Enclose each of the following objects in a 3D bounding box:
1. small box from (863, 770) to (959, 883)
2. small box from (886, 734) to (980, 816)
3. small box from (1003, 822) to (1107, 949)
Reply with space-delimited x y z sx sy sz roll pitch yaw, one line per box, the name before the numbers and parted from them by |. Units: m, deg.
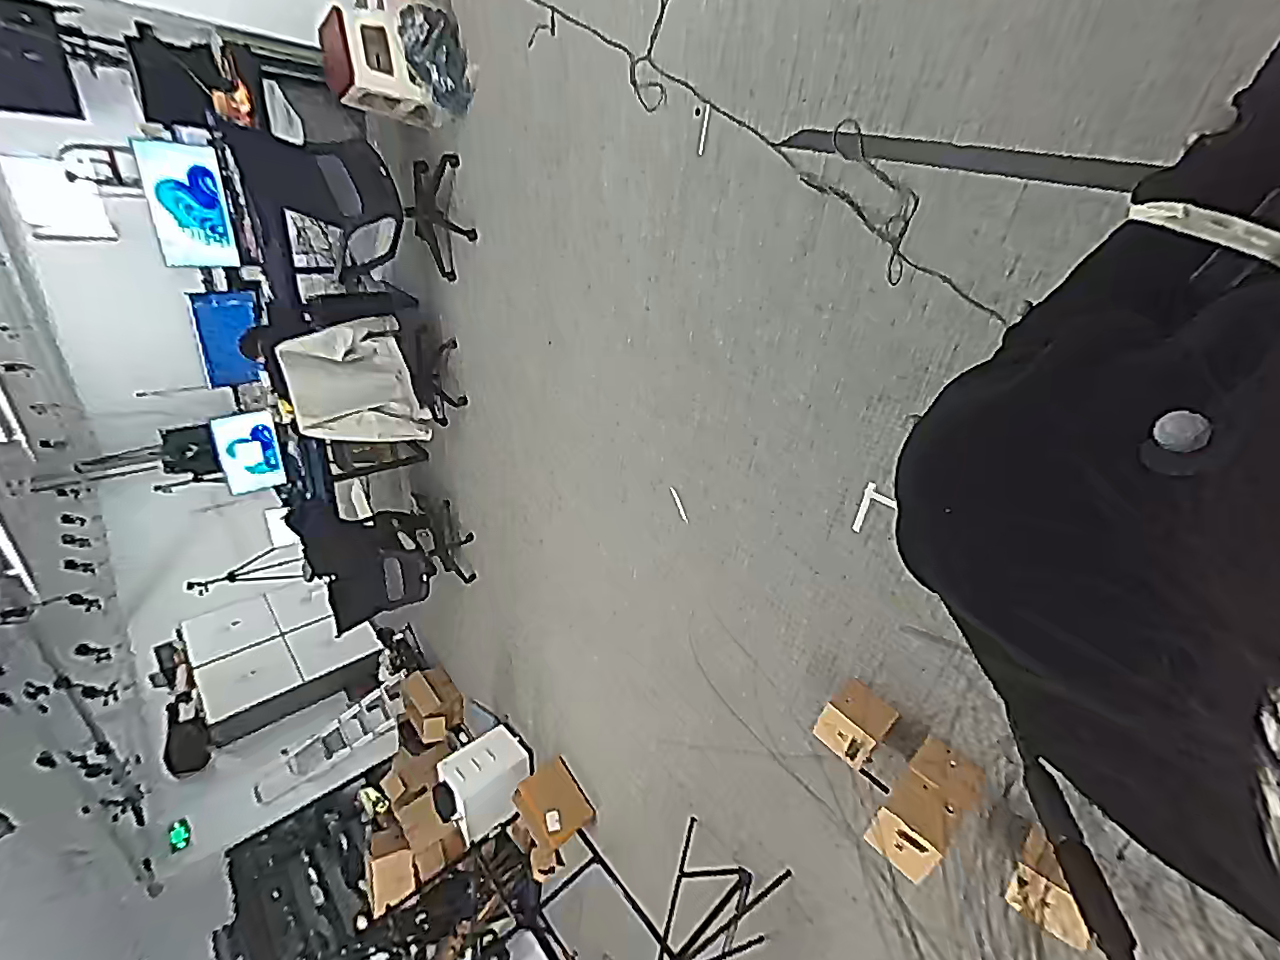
small box | 0.767 0.968 1.525 0.168 0.176 0.179 33 129 36
small box | 0.884 0.915 1.627 0.168 0.176 0.179 36 129 33
small box | 1.109 1.068 1.441 0.179 0.176 0.168 20 119 42
